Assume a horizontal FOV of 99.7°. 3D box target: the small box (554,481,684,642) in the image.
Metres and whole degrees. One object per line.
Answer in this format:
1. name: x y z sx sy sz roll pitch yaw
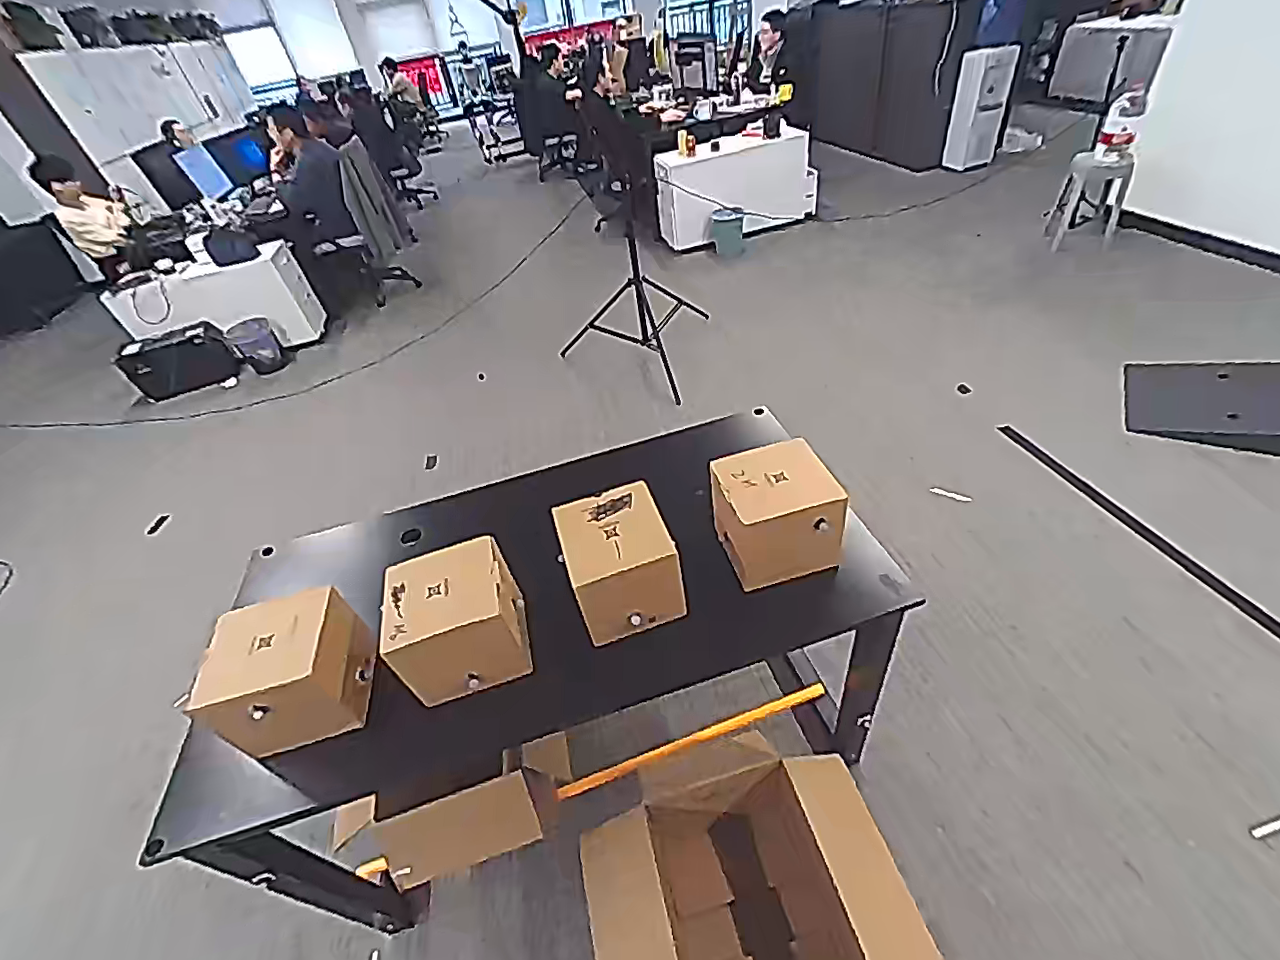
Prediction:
1. small box: -0.034 0.136 0.905 0.168 0.176 0.179 -18 43 -7

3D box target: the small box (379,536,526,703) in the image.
1. small box: -0.289 0.224 0.865 0.179 0.176 0.168 -17 42 -7

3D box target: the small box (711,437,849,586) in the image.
1. small box: 0.232 0.055 0.933 0.179 0.176 0.168 -15 41 -4

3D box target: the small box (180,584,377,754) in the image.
1. small box: -0.541 0.296 0.840 0.179 0.176 0.168 -15 43 -6
